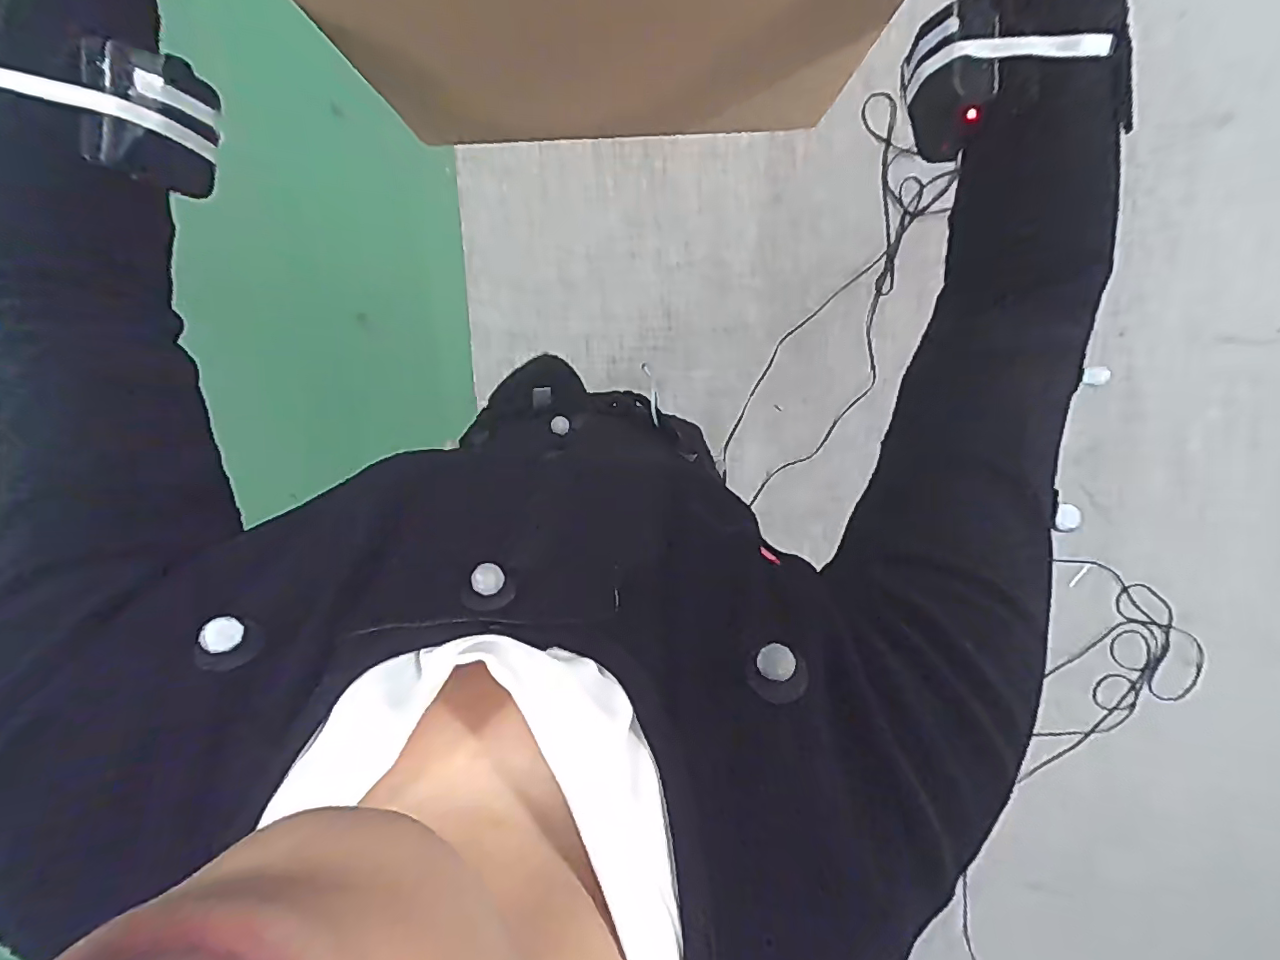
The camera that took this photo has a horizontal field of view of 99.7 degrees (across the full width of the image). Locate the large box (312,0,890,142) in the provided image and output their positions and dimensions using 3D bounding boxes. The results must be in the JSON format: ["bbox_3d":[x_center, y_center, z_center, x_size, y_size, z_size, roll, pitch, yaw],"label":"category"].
[{"bbox_3d":[-0.028,-0.476,0.377,0.408,0.320,0.320,-3,101,-1],"label":"large box"}]
